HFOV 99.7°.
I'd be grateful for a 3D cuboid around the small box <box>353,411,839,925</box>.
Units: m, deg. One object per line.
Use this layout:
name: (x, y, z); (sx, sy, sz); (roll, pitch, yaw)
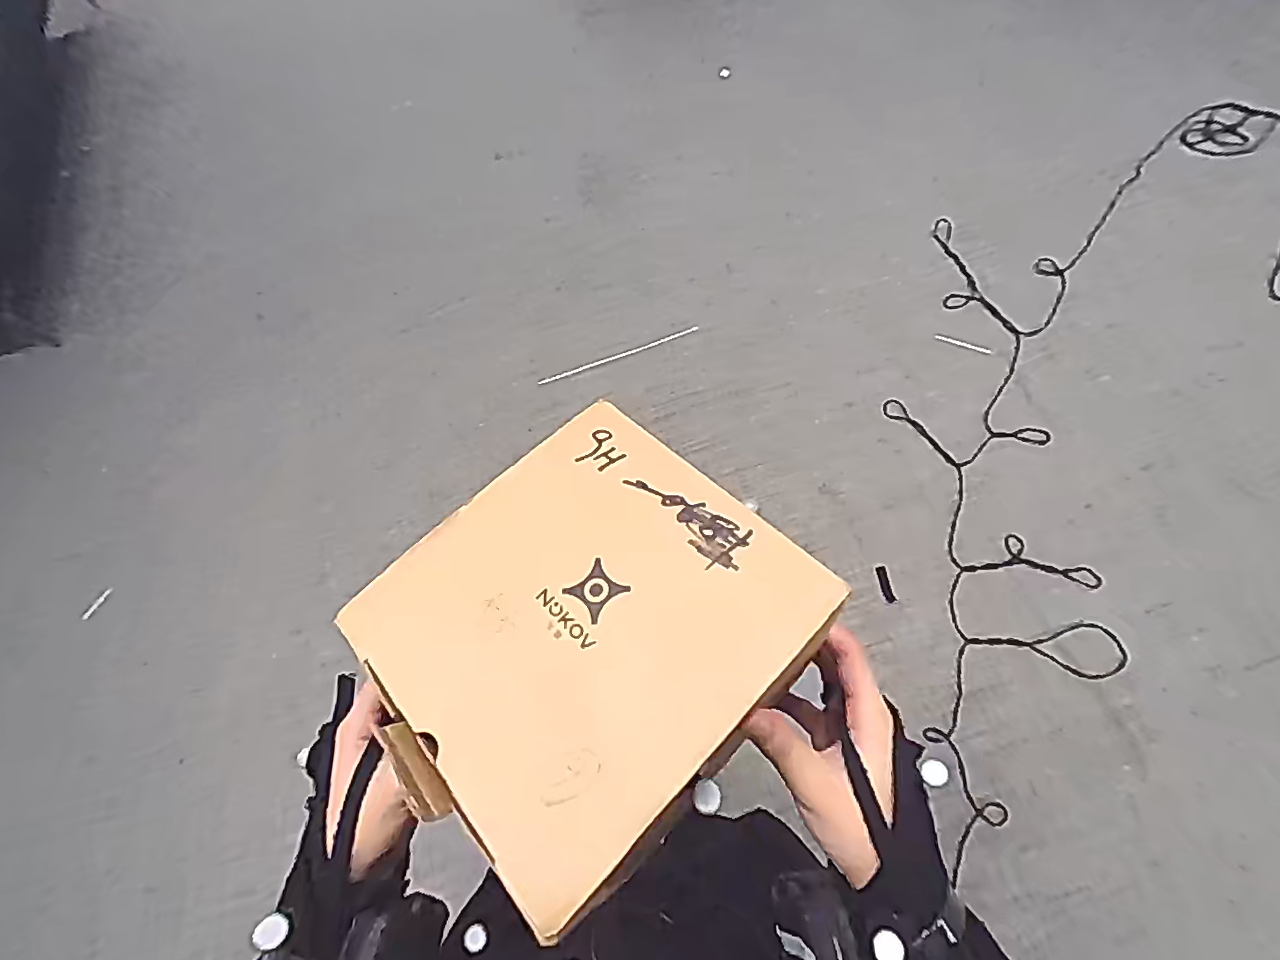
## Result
small box: (-0.015, 0.102, 0.318); (0.179, 0.176, 0.168); (-42, 62, -17)
